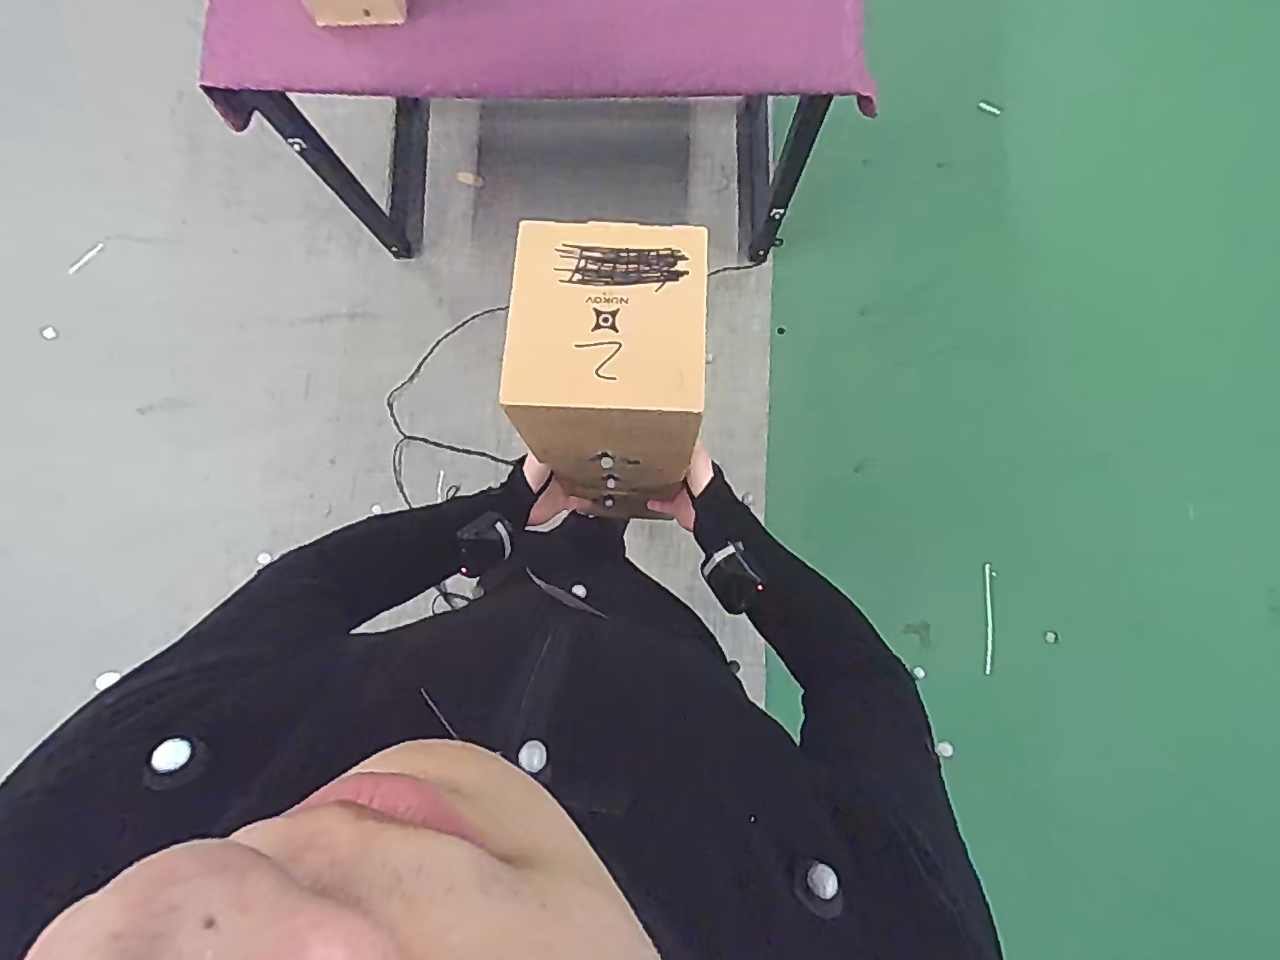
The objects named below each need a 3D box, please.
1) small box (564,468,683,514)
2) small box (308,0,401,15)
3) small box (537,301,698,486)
[{"bbox_3d":[-0.015,-0.054,0.842,0.168,0.176,0.179,4,76,3],"label":"small box"},{"bbox_3d":[-0.519,-0.939,0.919,0.168,0.176,0.179,-2,84,1],"label":"small box"},{"bbox_3d":[-0.020,-0.097,0.681,0.168,0.176,0.179,6,75,3],"label":"small box"}]
